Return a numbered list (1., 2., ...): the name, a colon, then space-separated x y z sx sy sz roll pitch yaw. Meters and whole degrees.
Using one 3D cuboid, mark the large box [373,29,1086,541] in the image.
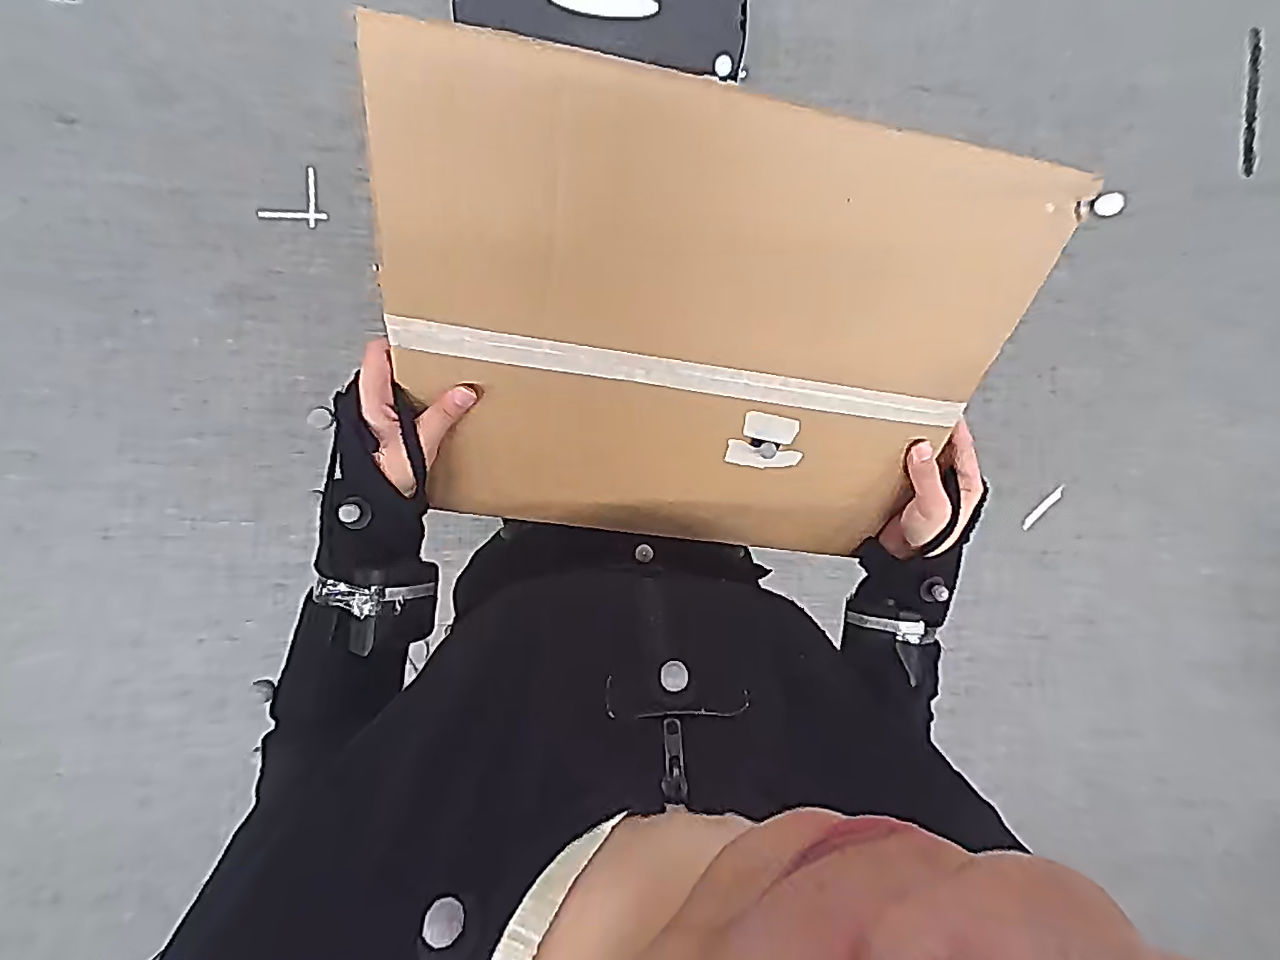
1. large box: 0.033 -0.172 0.493 0.408 0.320 0.320 6 129 -8
